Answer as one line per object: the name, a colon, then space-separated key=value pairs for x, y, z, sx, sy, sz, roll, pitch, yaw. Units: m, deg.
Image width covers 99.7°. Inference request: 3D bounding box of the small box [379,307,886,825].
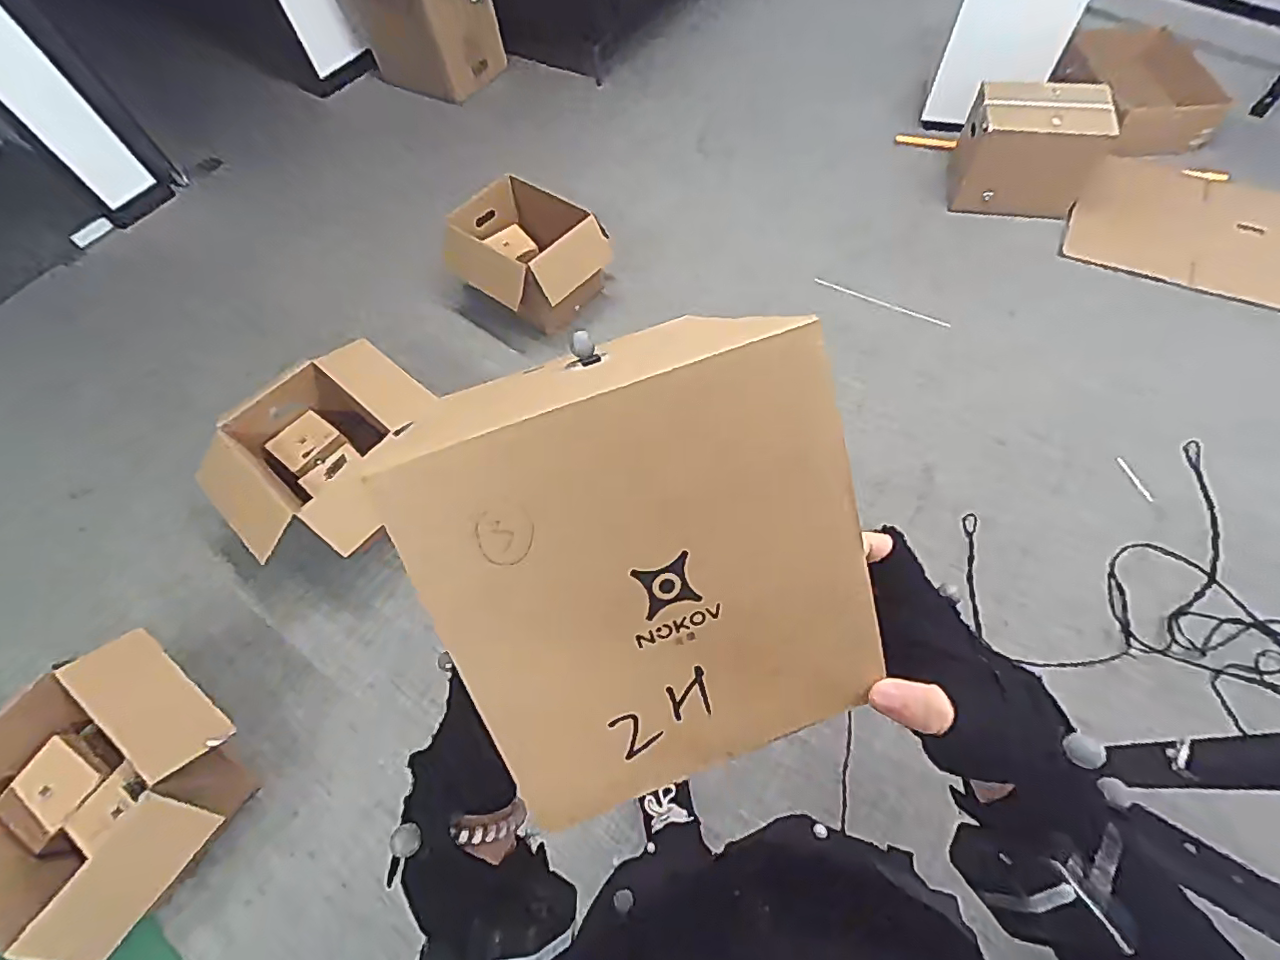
small box: x=-0.004 y=0.021 z=0.285 sx=0.168 sy=0.179 sz=0.176 roll=-19 pitch=19 yaw=-6
